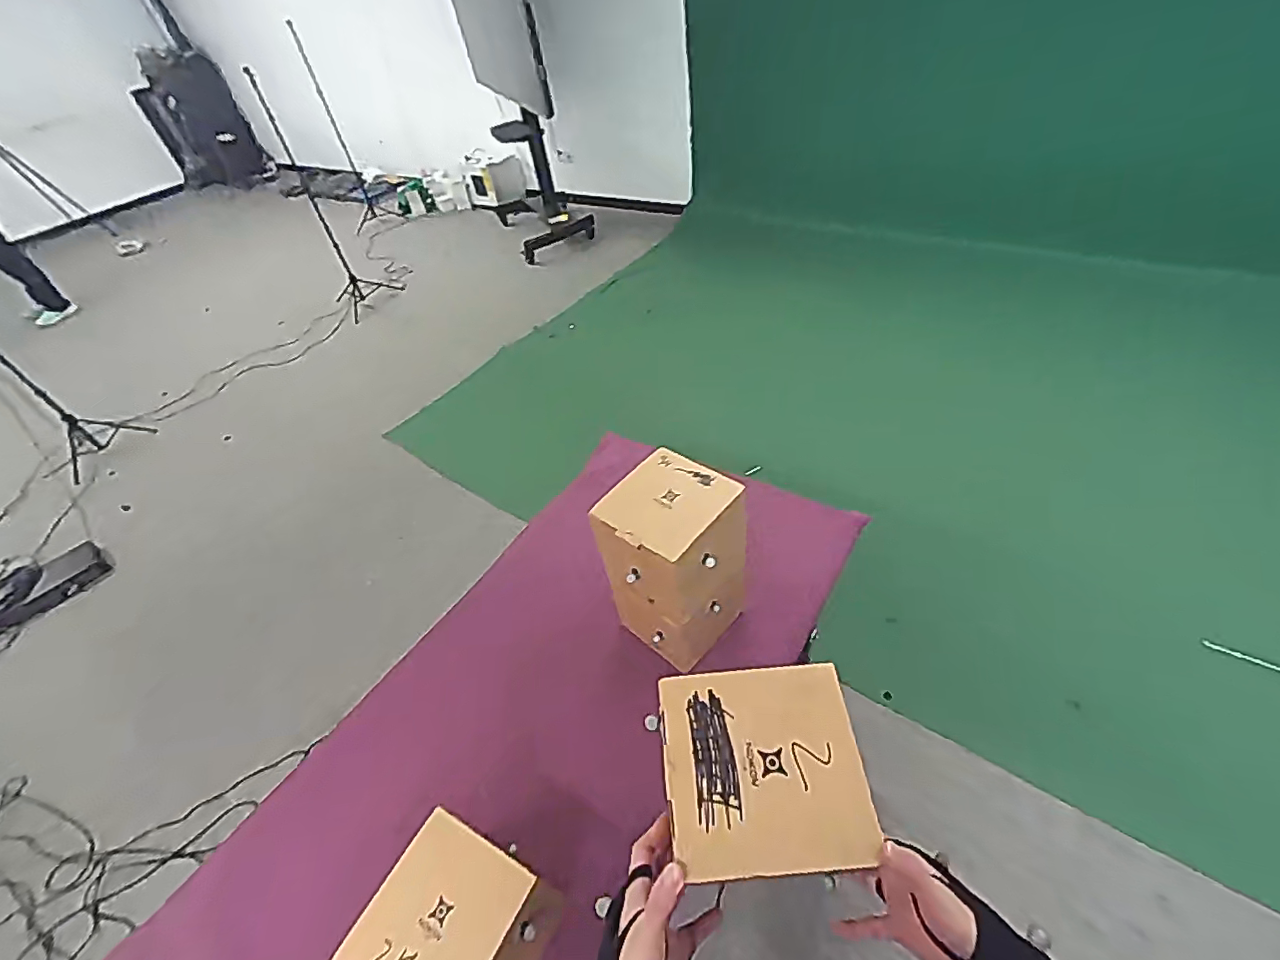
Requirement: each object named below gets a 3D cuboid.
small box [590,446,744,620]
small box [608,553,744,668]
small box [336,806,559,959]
[{"bbox_3d":[0.051,0.085,0.849,0.168,0.176,0.179,29,58,32],"label":"small box"},{"bbox_3d":[0.072,0.198,0.965,0.168,0.176,0.179,32,58,34],"label":"small box"},{"bbox_3d":[-0.217,0.552,0.668,0.168,0.176,0.179,17,51,25],"label":"small box"}]
